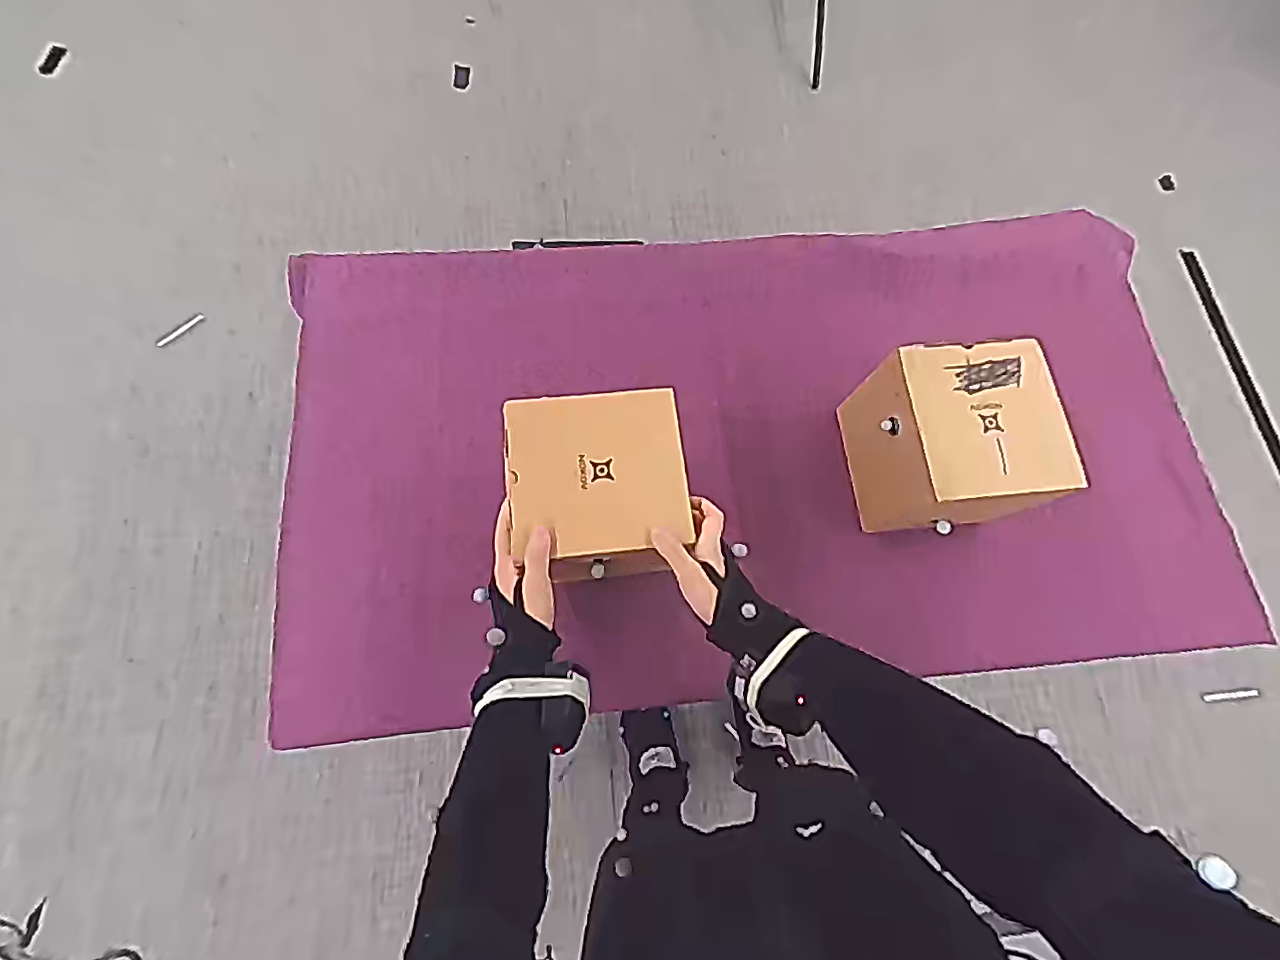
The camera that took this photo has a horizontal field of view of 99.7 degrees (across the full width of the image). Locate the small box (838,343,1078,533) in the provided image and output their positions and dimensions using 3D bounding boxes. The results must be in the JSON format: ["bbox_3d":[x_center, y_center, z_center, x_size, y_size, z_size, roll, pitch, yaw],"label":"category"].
[{"bbox_3d":[0.358,-0.042,0.650,0.168,0.176,0.179,-5,74,-4],"label":"small box"}]

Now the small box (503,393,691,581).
[{"bbox_3d":[-0.050,0.016,0.608,0.179,0.176,0.168,-6,74,-5],"label":"small box"}]
